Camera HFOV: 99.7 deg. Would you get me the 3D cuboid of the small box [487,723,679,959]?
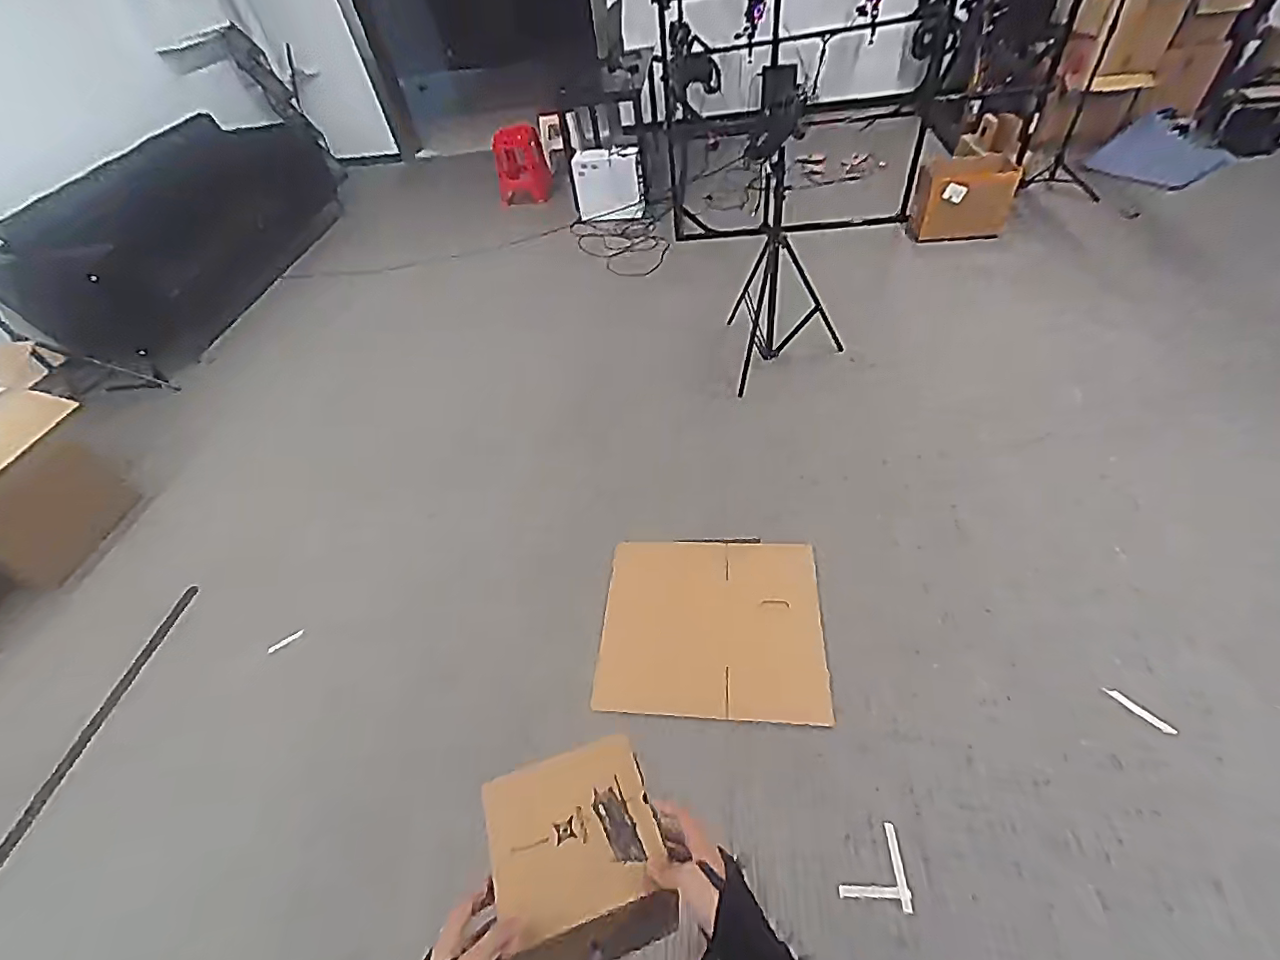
[{"bbox_3d":[-0.065,0.422,0.626,0.179,0.176,0.168,-14,39,-13],"label":"small box"}]
